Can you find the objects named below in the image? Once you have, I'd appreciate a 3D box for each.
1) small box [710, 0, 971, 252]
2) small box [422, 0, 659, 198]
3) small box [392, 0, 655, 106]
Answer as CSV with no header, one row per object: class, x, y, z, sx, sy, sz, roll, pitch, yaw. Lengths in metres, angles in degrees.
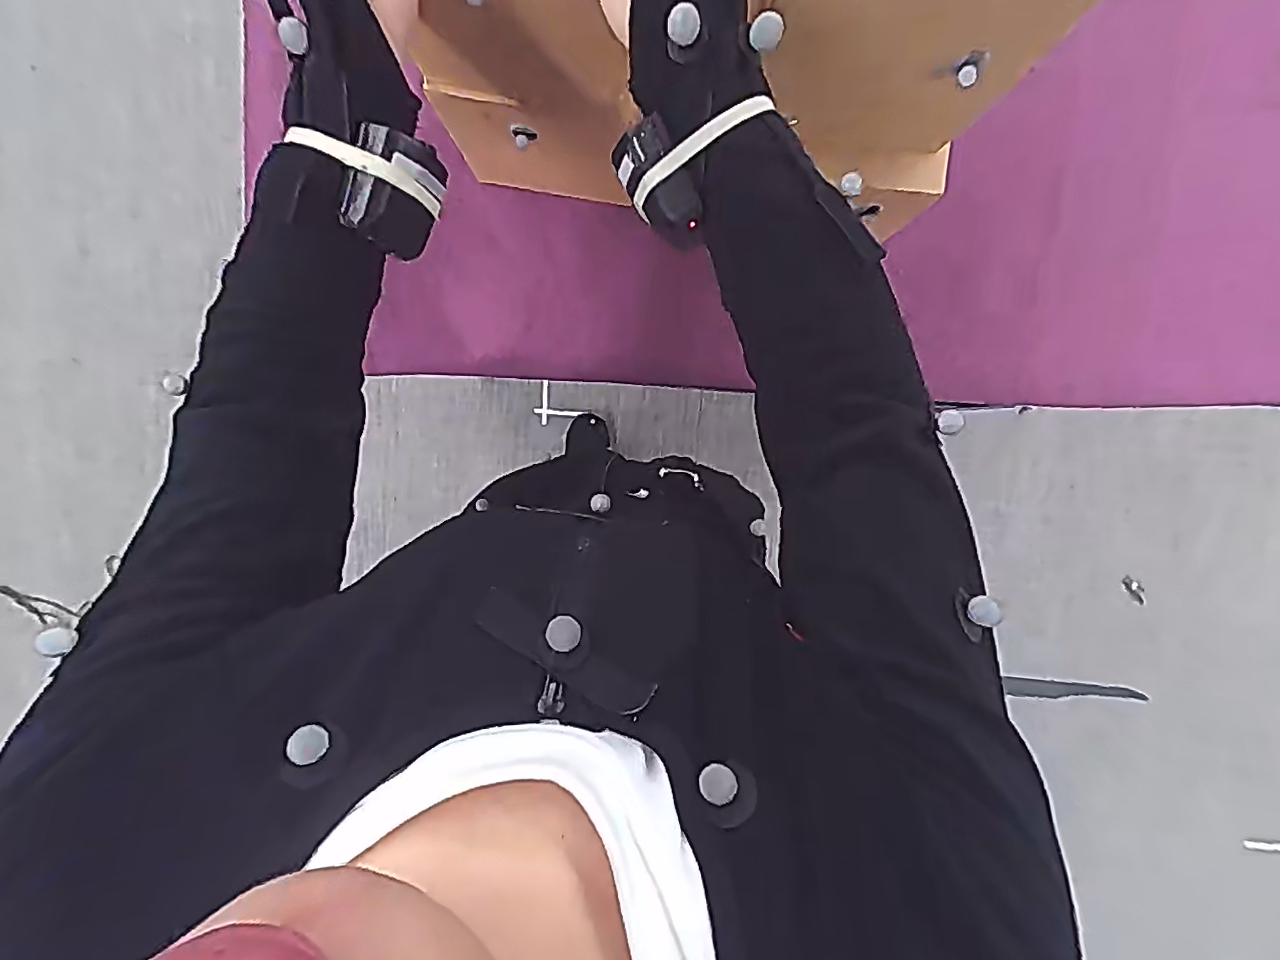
small box,0.172,-0.332,0.518,0.179,0.176,0.168,5,94,-1
small box,-0.080,-0.392,0.510,0.179,0.176,0.168,9,95,-3
small box,-0.069,-0.383,0.348,0.179,0.176,0.168,12,95,-2
